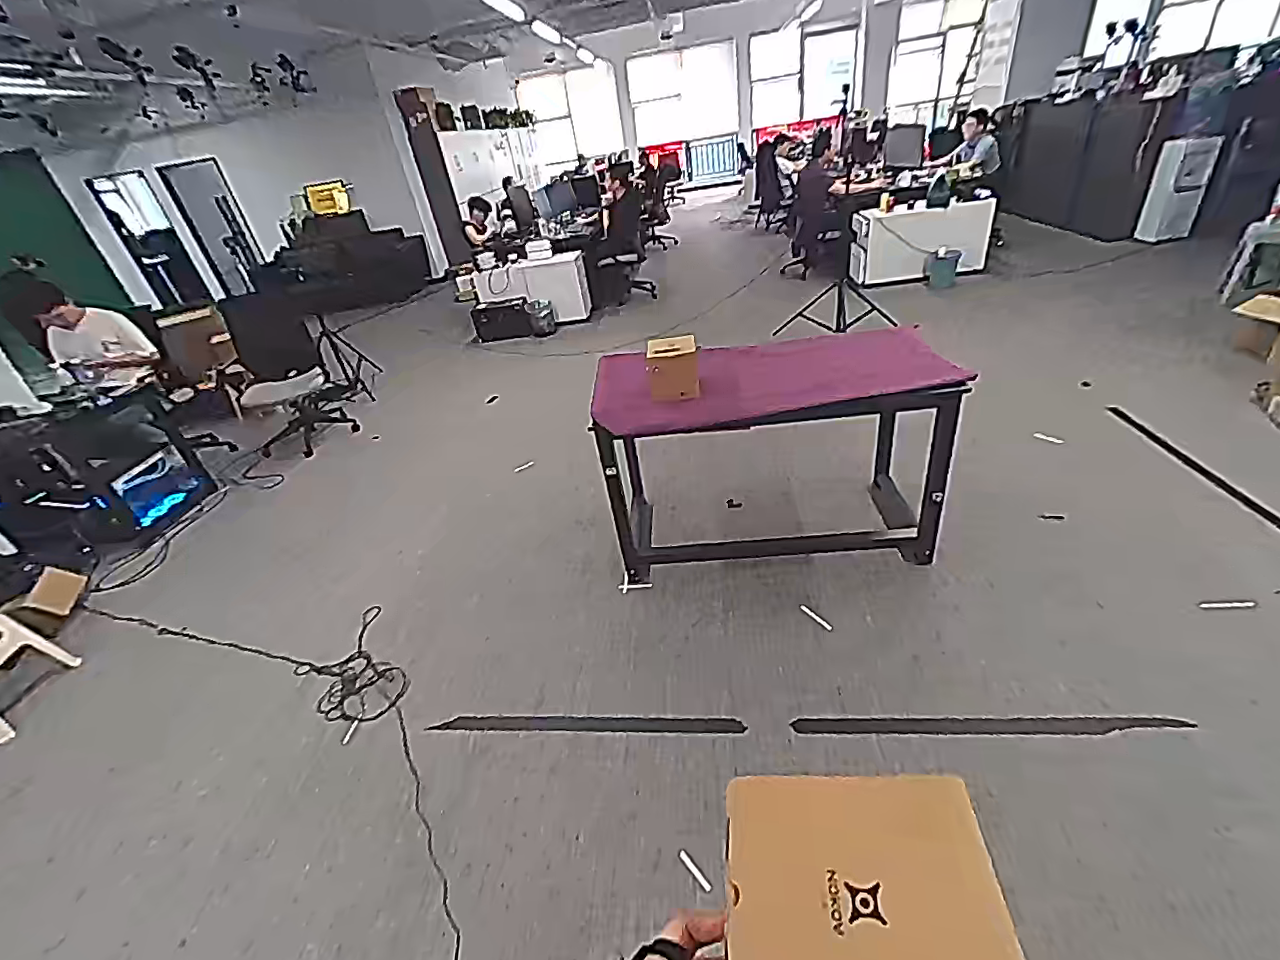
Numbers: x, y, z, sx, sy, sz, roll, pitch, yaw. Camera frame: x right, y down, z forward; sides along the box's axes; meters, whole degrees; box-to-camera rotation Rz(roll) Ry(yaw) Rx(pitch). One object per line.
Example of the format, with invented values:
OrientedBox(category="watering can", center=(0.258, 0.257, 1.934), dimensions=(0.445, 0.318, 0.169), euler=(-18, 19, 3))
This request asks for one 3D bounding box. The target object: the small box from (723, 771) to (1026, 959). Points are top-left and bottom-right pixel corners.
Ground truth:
OrientedBox(category="small box", center=(0.162, 0.336, 0.390), dimensions=(0.179, 0.176, 0.168), euler=(-10, 32, 16))
